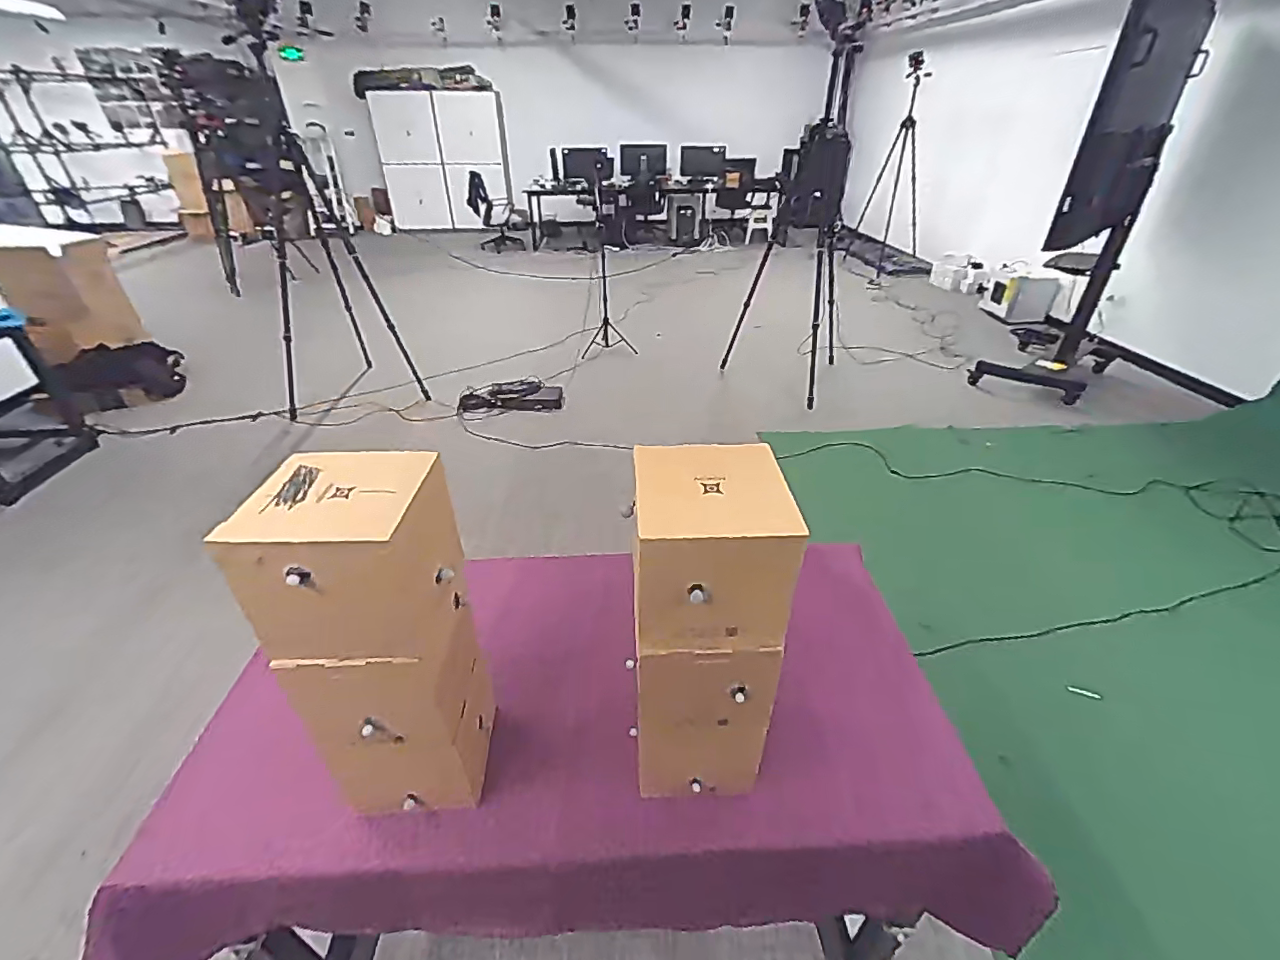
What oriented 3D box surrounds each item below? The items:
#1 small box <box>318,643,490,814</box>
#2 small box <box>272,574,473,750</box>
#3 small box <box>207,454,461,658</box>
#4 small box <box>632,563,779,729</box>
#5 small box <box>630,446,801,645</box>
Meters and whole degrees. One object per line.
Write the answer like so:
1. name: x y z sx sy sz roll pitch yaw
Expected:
1. small box: -0.326 0.362 0.793 0.179 0.176 0.168 -2 34 -4
2. small box: -0.326 0.222 0.705 0.168 0.176 0.179 -2 34 -2
3. small box: -0.321 0.084 0.614 0.179 0.176 0.168 0 34 -1
4. small box: 0.076 0.212 0.720 0.168 0.176 0.179 -1 34 -2
5. small box: 0.074 0.077 0.630 0.168 0.176 0.179 -1 34 -2
